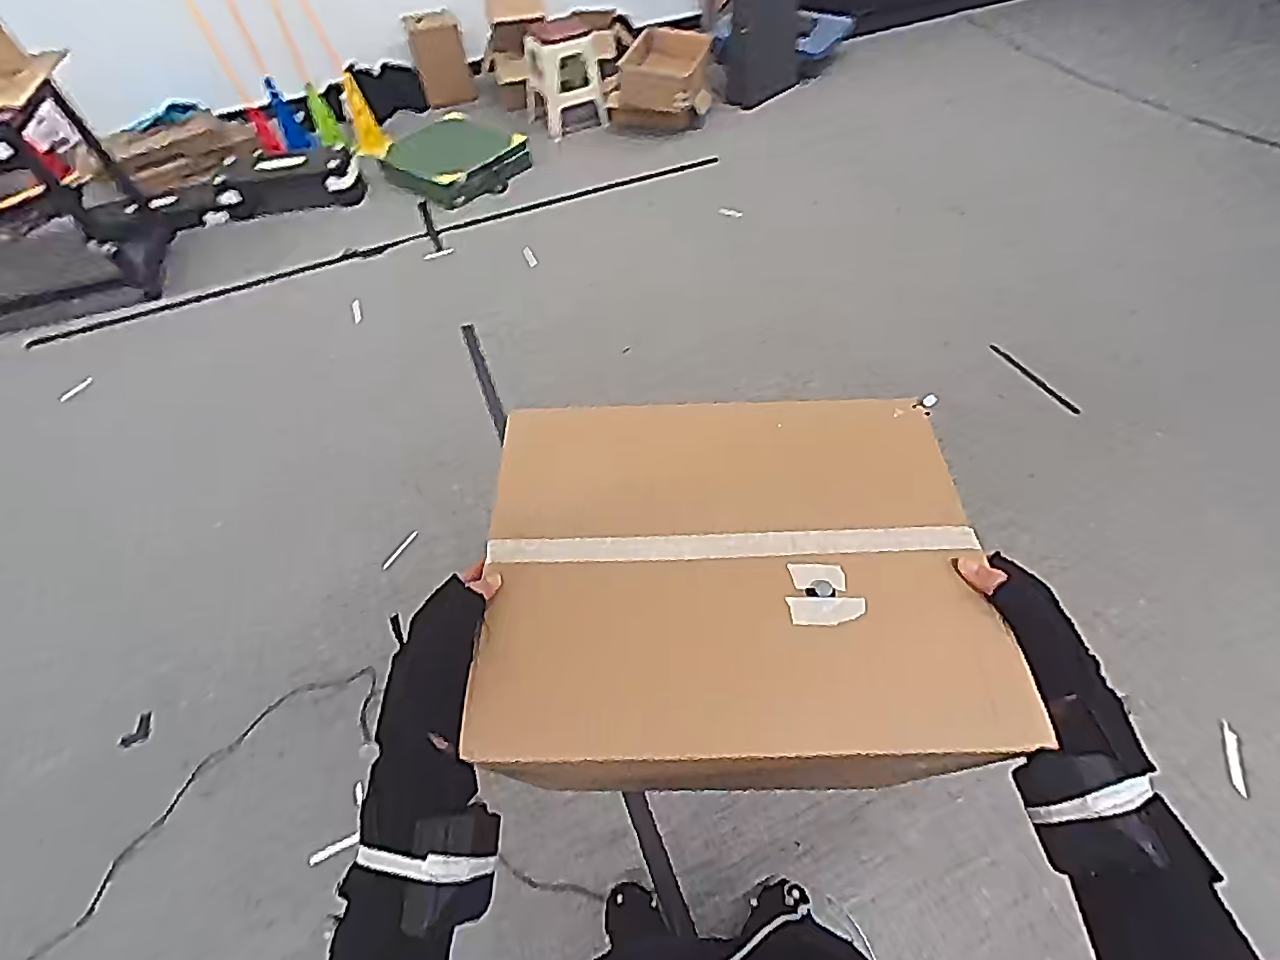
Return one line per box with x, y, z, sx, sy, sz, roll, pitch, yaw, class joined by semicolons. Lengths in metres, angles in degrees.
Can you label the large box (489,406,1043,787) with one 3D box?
0.087;0.141;0.587;0.408;0.320;0.320;-1;58;1;large box
